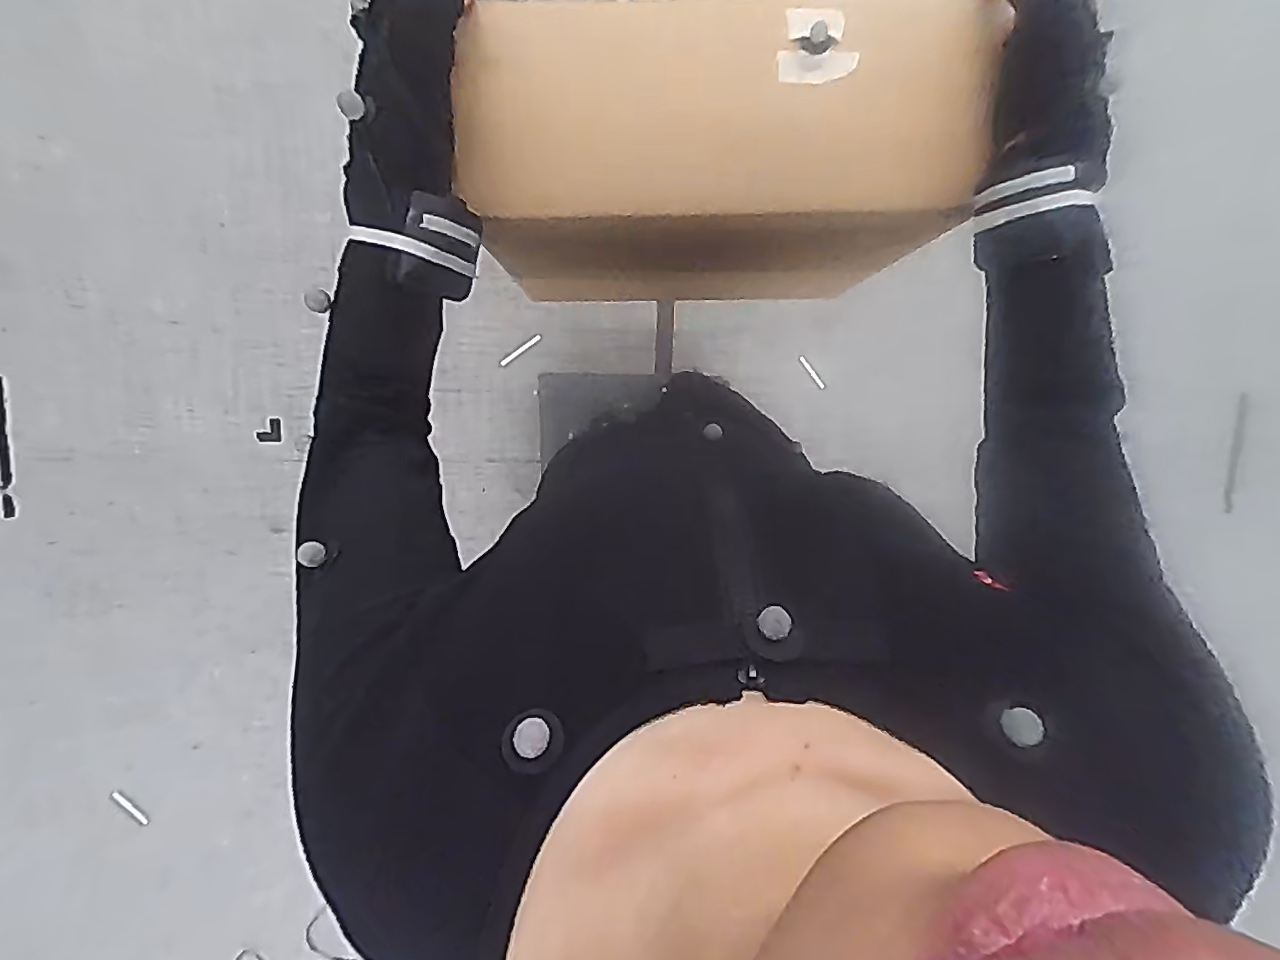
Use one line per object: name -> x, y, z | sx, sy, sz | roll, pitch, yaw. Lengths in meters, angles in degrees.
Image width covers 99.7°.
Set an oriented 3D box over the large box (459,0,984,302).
large box -> 0.058, -0.379, 0.554 | 0.408, 0.320, 0.320 | -1, 97, -1
